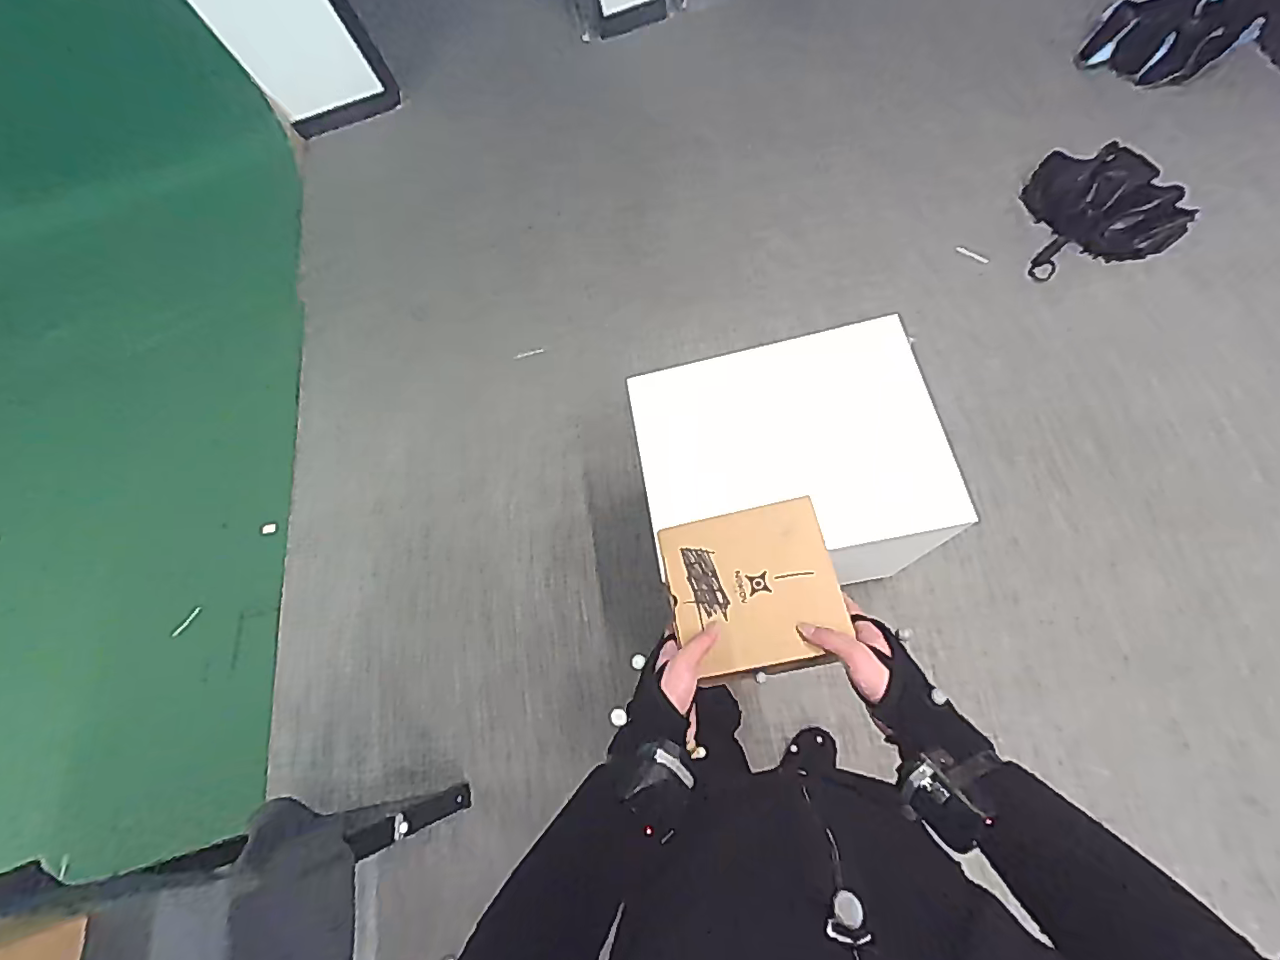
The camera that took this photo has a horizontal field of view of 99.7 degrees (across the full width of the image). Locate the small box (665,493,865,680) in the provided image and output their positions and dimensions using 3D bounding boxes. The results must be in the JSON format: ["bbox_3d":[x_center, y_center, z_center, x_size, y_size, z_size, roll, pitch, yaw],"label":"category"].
[{"bbox_3d":[0.138,0.134,0.631,0.179,0.176,0.168,-12,66,7],"label":"small box"}]

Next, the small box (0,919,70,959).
[{"bbox_3d":[-0.862,0.664,0.653,0.168,0.176,0.179,-9,70,7],"label":"small box"}]
